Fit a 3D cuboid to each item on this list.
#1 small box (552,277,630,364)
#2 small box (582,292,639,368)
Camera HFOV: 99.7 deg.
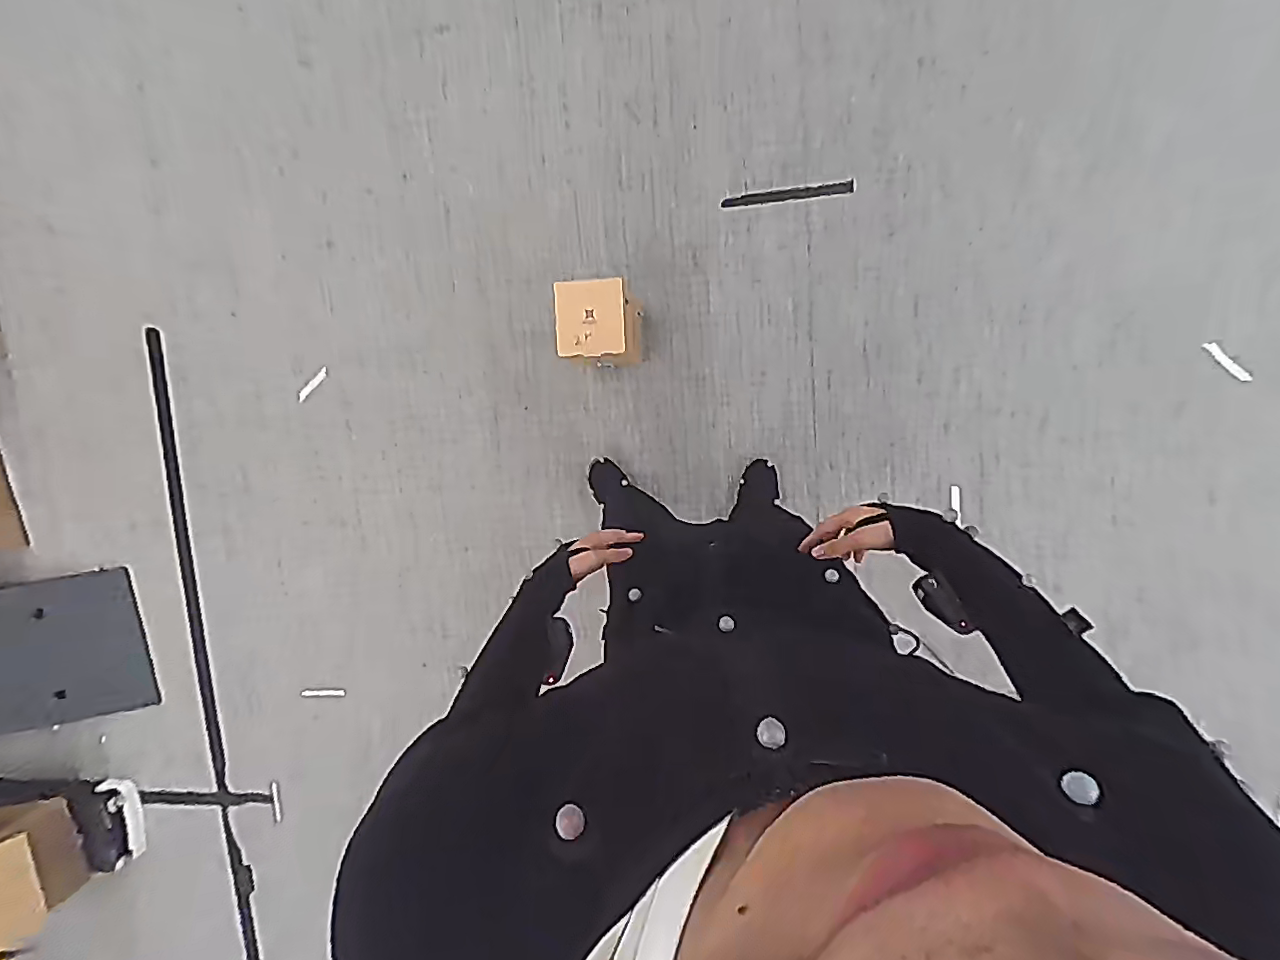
[{"bbox_3d":[-0.116,-0.390,1.343,0.168,0.176,0.179,-1,96,7],"label":"small box"},{"bbox_3d":[-0.093,-0.411,1.504,0.168,0.176,0.179,-1,96,6],"label":"small box"}]
